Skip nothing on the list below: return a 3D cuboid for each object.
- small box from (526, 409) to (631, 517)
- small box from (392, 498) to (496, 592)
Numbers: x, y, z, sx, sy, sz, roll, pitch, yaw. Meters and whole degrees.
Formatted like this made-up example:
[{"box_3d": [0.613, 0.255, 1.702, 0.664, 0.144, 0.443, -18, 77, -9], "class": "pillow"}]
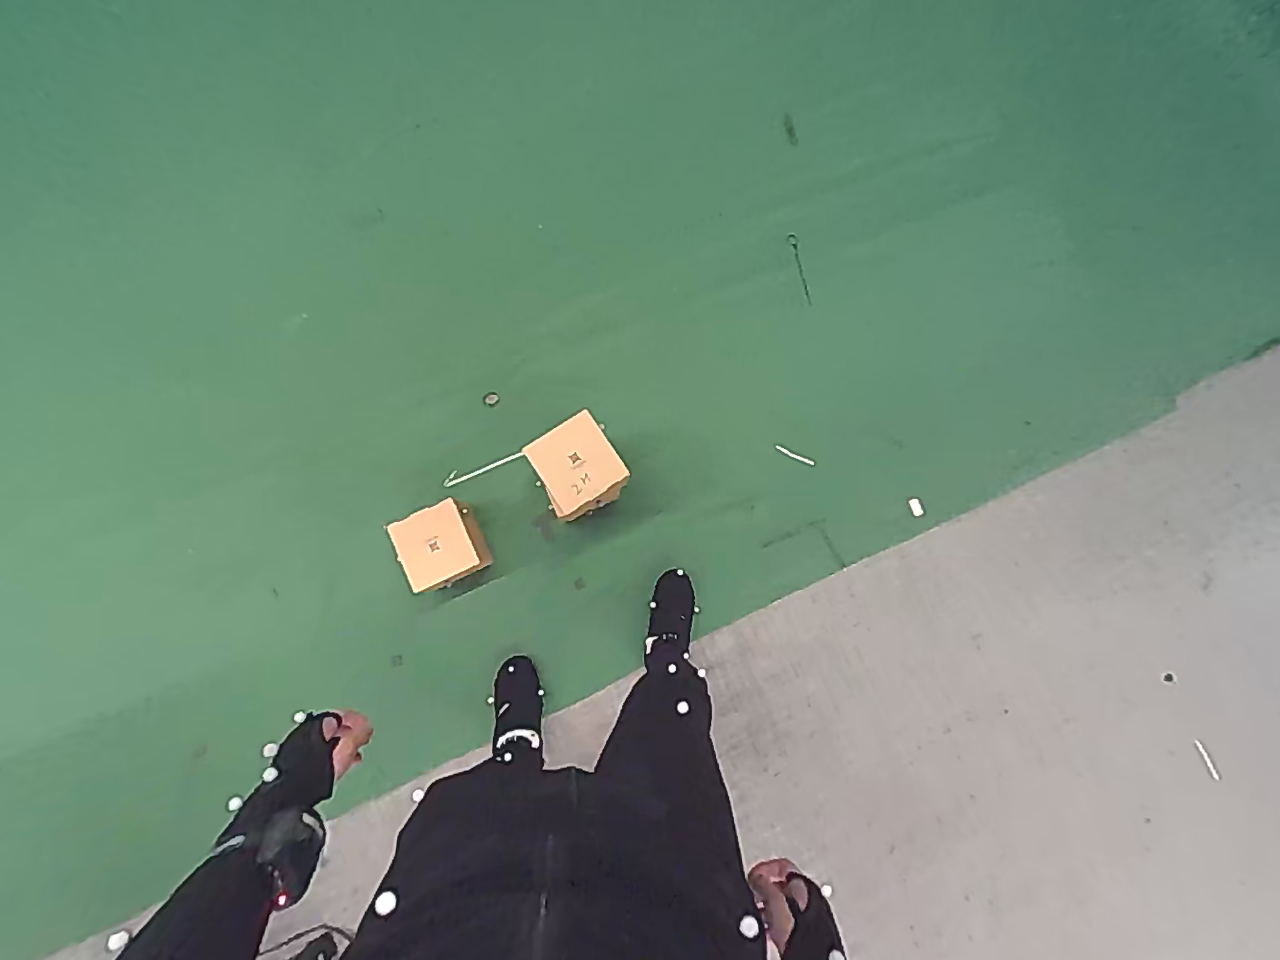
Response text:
[{"box_3d": [-0.137, -0.030, 1.231, 0.168, 0.176, 0.179, -33, 85, -7], "class": "small box"}, {"box_3d": [-0.480, 0.163, 1.350, 0.168, 0.176, 0.179, -25, 83, -6], "class": "small box"}]
